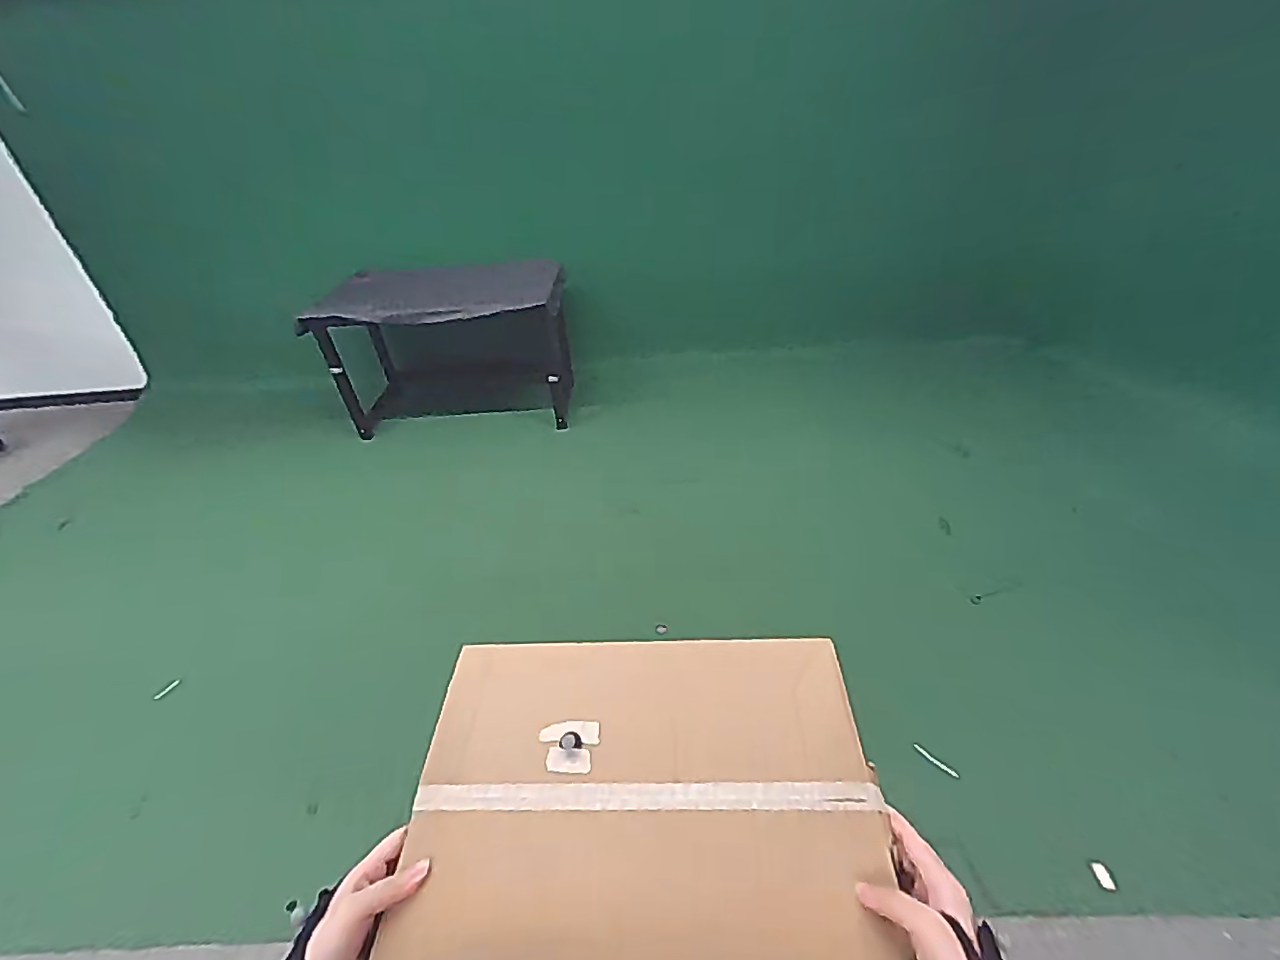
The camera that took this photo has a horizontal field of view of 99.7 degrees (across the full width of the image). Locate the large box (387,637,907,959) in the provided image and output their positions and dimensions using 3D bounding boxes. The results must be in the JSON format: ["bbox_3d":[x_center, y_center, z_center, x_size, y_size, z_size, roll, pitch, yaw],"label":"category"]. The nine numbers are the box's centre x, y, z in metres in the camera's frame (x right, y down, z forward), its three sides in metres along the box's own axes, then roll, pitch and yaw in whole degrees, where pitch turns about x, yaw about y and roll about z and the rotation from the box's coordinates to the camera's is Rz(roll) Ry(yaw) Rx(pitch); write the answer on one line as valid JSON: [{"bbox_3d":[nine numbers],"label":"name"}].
[{"bbox_3d":[0.017,0.398,0.589,0.408,0.320,0.320,-4,41,5],"label":"large box"}]
